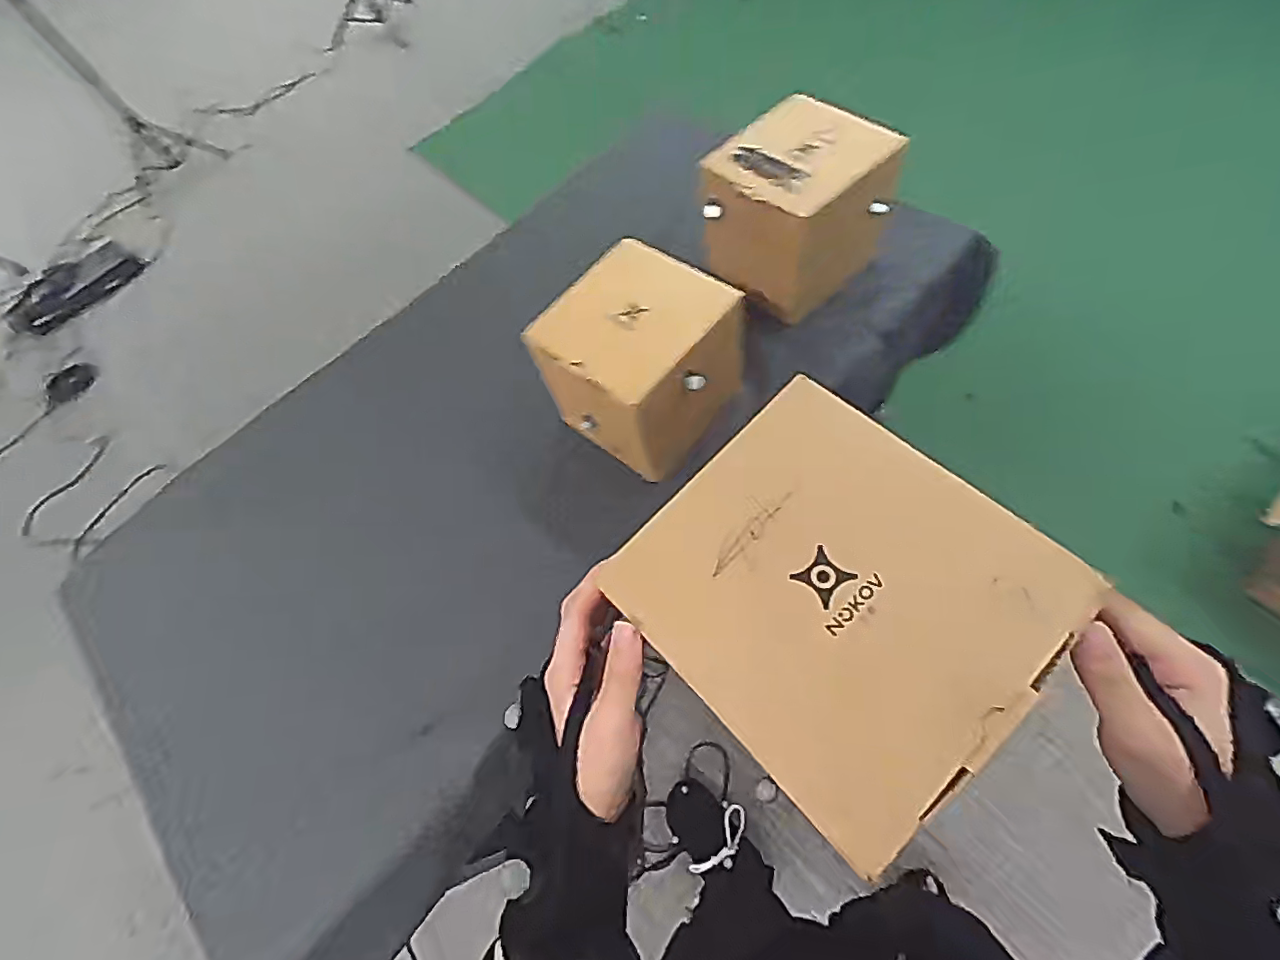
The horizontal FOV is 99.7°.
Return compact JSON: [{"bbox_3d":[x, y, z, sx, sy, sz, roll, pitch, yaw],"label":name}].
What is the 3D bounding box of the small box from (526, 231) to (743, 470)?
[{"bbox_3d":[0.002,-0.146,0.639,0.168,0.176,0.179,36,76,24],"label":"small box"}]
